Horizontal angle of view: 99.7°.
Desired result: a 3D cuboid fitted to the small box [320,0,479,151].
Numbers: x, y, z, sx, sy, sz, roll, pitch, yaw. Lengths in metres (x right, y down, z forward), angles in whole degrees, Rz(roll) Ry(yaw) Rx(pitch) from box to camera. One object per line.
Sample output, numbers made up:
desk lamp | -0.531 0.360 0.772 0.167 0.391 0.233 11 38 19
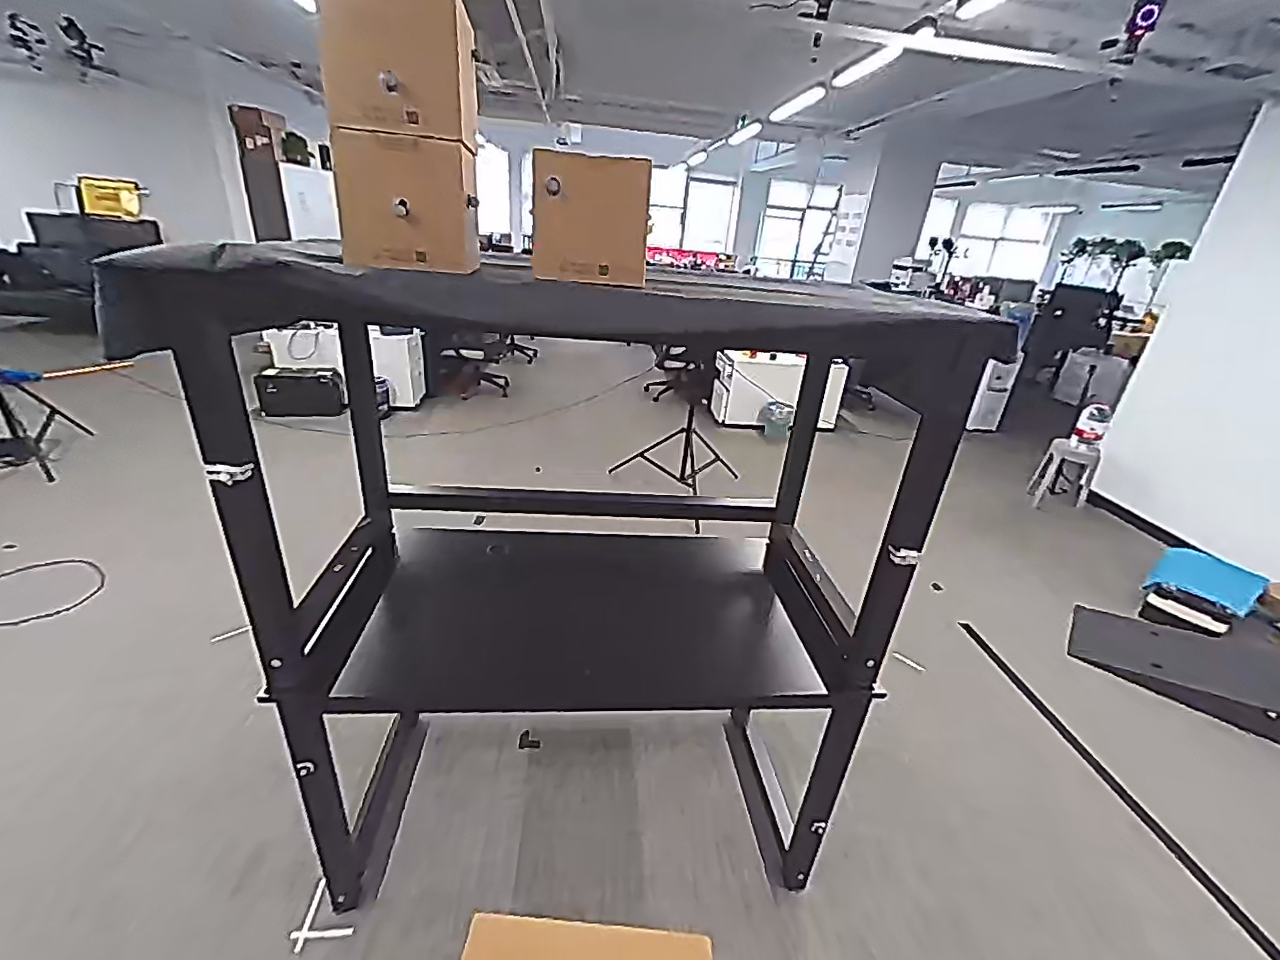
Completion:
small box | -0.315 -0.556 0.734 0.168 0.176 0.179 0 24 -10

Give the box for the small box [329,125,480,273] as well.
small box | -0.330 -0.404 0.798 0.168 0.176 0.179 1 24 -11
